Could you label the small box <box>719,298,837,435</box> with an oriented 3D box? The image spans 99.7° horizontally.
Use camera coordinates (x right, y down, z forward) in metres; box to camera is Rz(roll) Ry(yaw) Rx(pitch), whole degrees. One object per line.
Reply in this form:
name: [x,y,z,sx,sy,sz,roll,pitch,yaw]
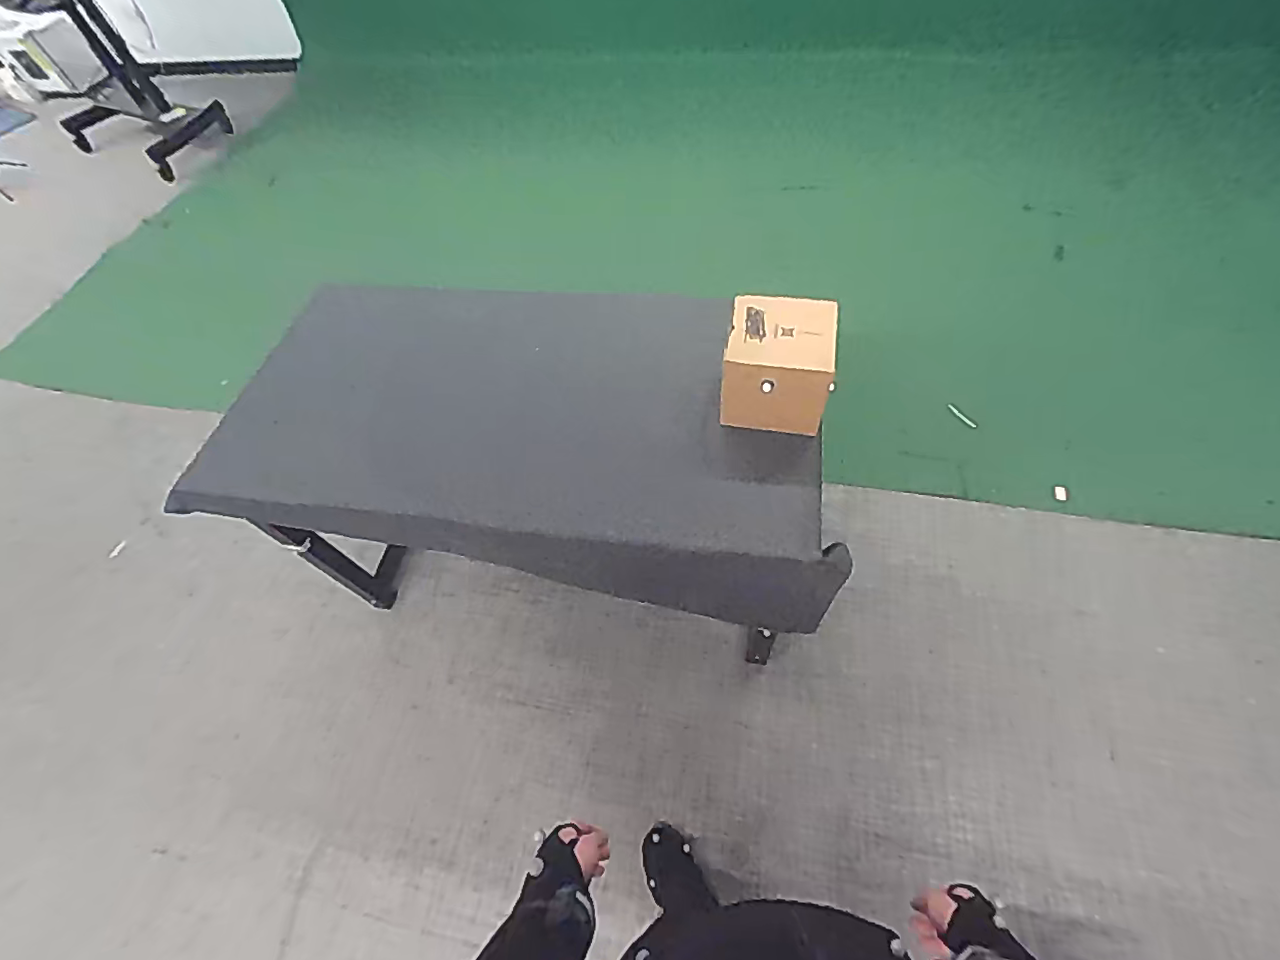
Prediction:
small box: [0.239,-0.198,0.964,0.179,0.176,0.168,9,58,8]
